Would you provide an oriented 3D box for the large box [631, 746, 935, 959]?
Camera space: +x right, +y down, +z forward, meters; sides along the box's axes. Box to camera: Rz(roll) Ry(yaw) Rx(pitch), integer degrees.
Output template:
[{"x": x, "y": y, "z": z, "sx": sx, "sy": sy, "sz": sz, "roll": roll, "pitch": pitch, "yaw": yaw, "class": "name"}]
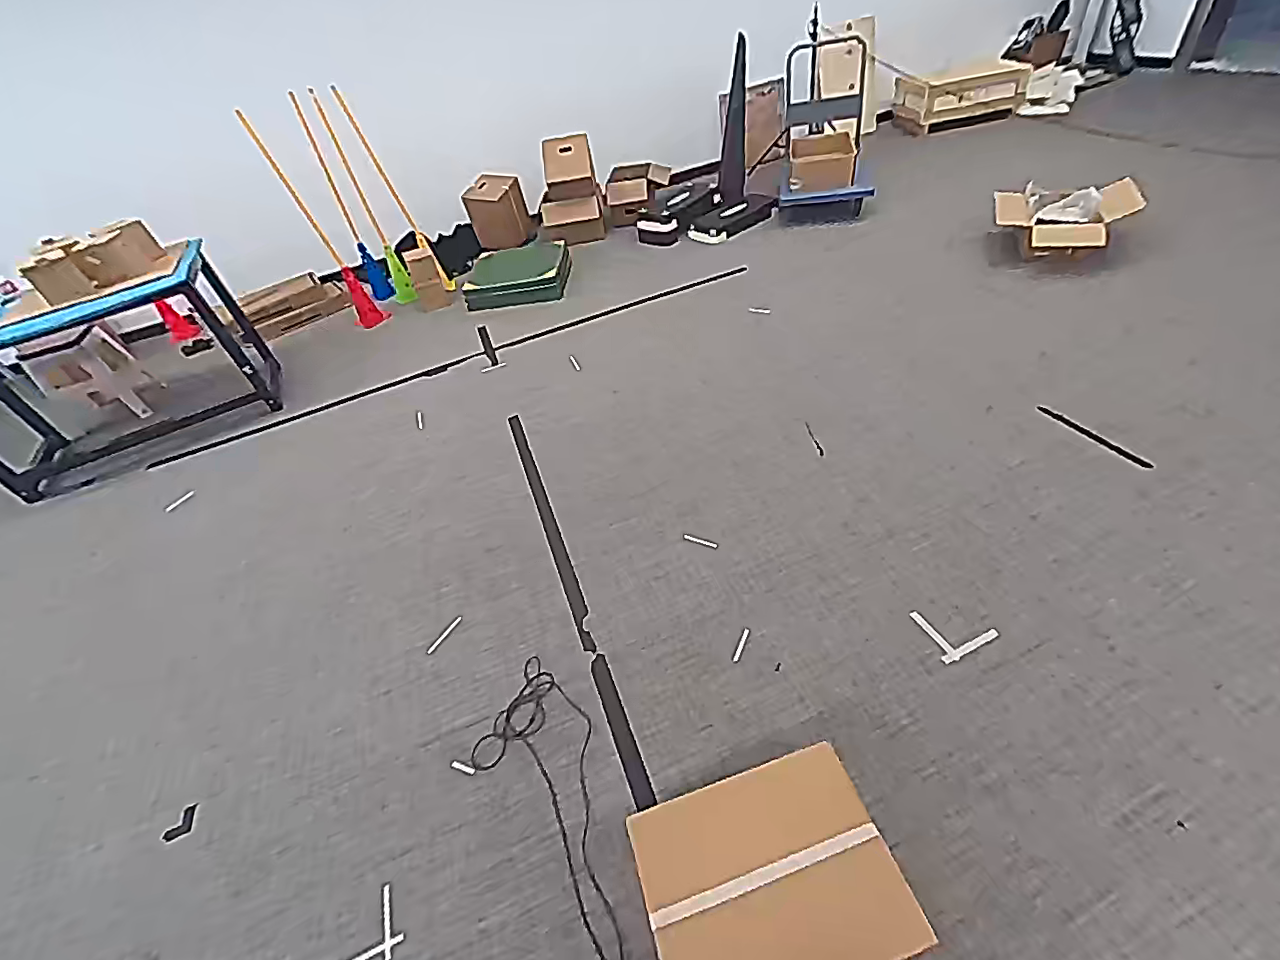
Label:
[{"x": 0.236, "y": 0.761, "z": 0.987, "sx": 0.408, "sy": 0.320, "sz": 0.320, "roll": -18, "pitch": 42, "yaw": -6, "class": "large box"}]
